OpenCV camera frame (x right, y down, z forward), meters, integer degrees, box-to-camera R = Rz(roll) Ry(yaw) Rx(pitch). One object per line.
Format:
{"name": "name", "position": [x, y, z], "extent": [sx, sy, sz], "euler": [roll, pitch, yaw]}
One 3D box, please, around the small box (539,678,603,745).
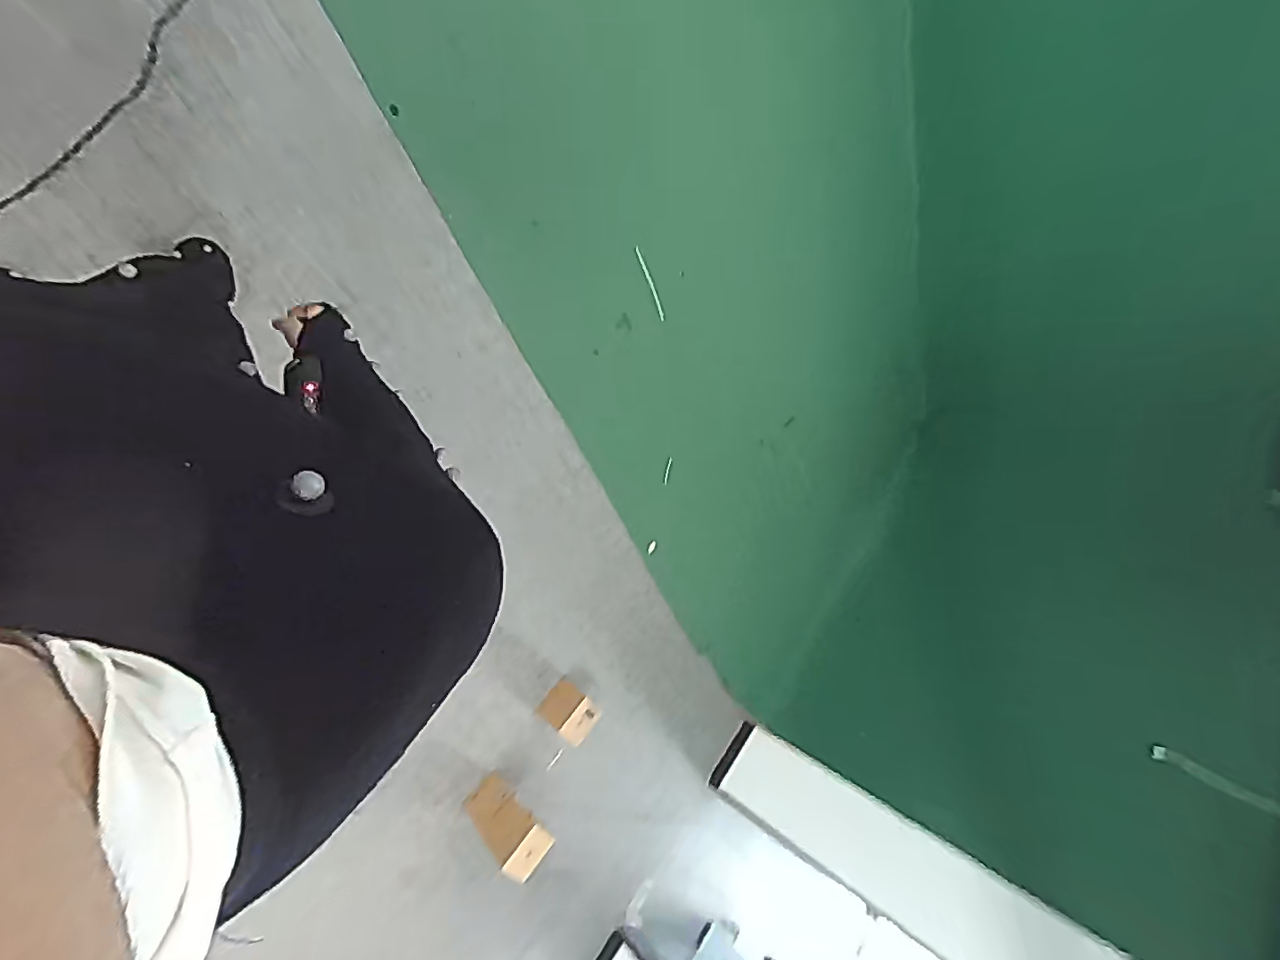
{"name": "small box", "position": [-0.296, 0.982, 2.305], "extent": [0.179, 0.176, 0.168], "euler": [-48, 131, -23]}

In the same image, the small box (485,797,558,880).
{"name": "small box", "position": [-0.446, 1.334, 2.021], "extent": [0.179, 0.176, 0.168], "euler": [-47, 131, -24]}
